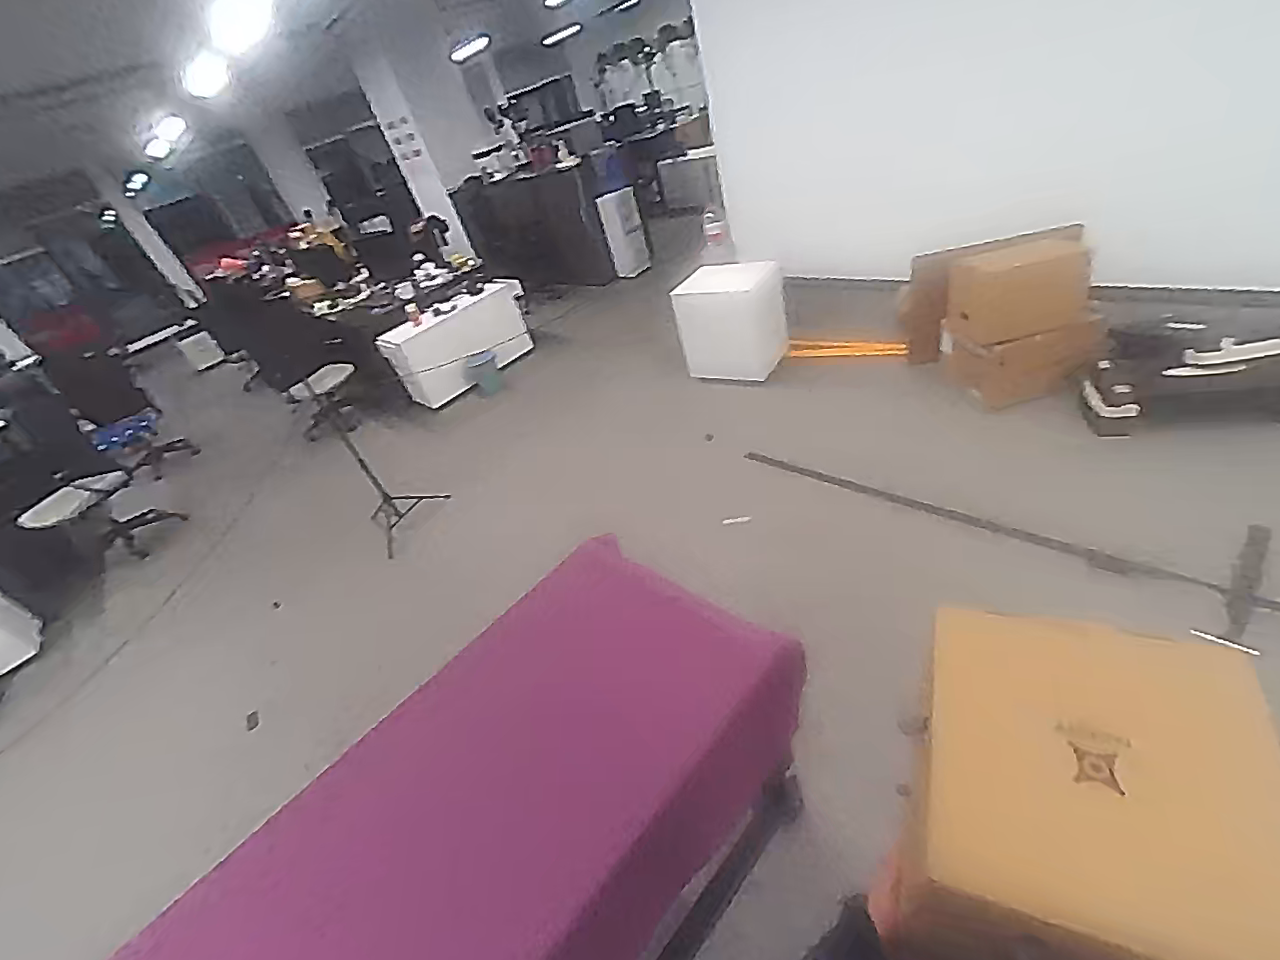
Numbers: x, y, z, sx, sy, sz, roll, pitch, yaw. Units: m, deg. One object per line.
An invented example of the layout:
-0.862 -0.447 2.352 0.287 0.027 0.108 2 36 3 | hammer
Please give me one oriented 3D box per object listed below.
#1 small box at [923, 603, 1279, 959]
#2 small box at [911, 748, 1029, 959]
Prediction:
0.285 0.211 0.353 0.168 0.176 0.179 5 48 27 | small box
0.334 0.321 0.462 0.168 0.176 0.179 7 50 29 | small box
